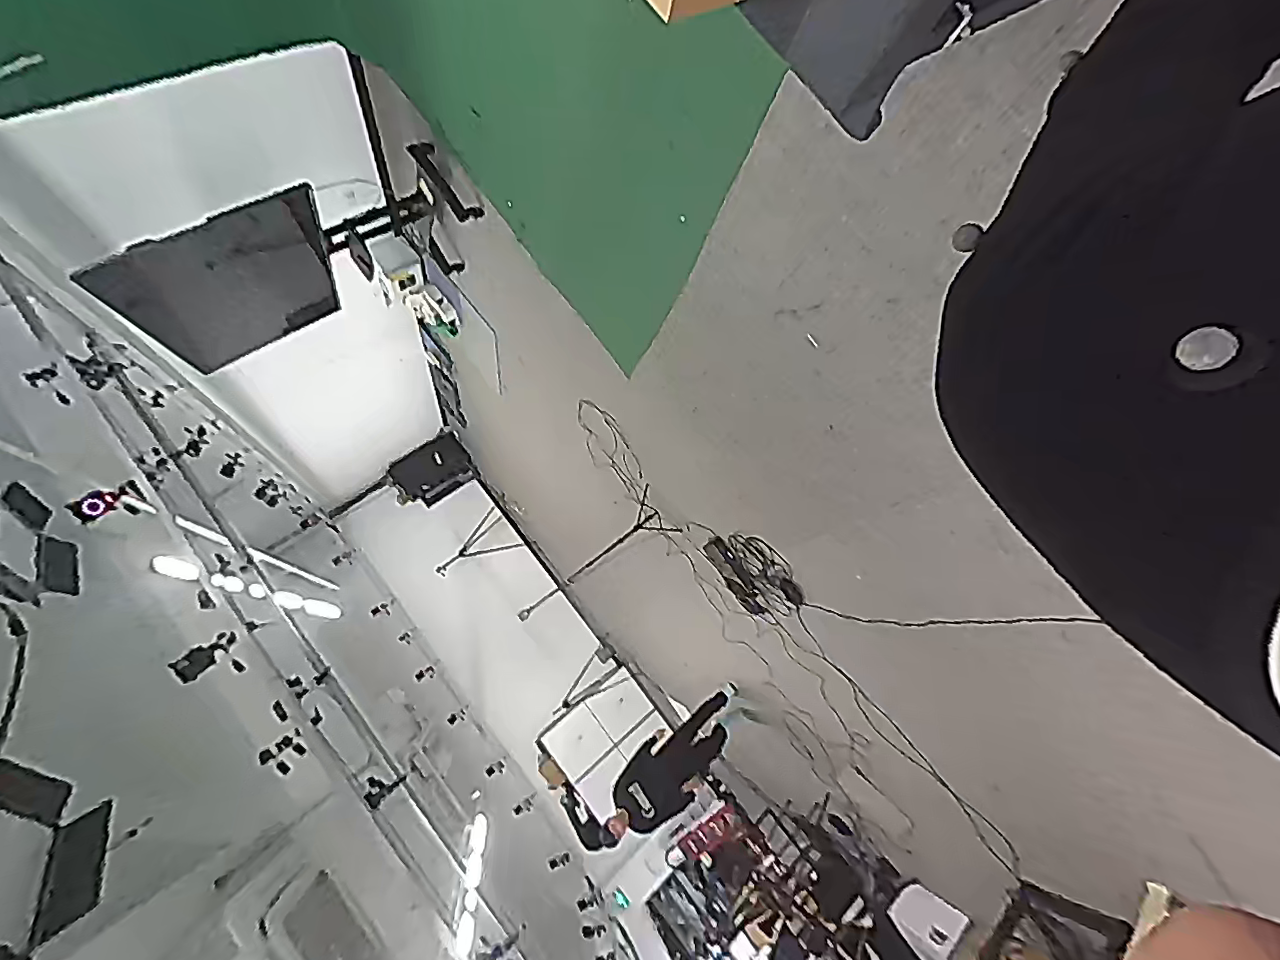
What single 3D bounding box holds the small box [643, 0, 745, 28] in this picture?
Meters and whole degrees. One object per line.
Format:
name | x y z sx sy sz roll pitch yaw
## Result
small box | 0.075 -0.772 0.725 0.168 0.176 0.179 55 158 3
